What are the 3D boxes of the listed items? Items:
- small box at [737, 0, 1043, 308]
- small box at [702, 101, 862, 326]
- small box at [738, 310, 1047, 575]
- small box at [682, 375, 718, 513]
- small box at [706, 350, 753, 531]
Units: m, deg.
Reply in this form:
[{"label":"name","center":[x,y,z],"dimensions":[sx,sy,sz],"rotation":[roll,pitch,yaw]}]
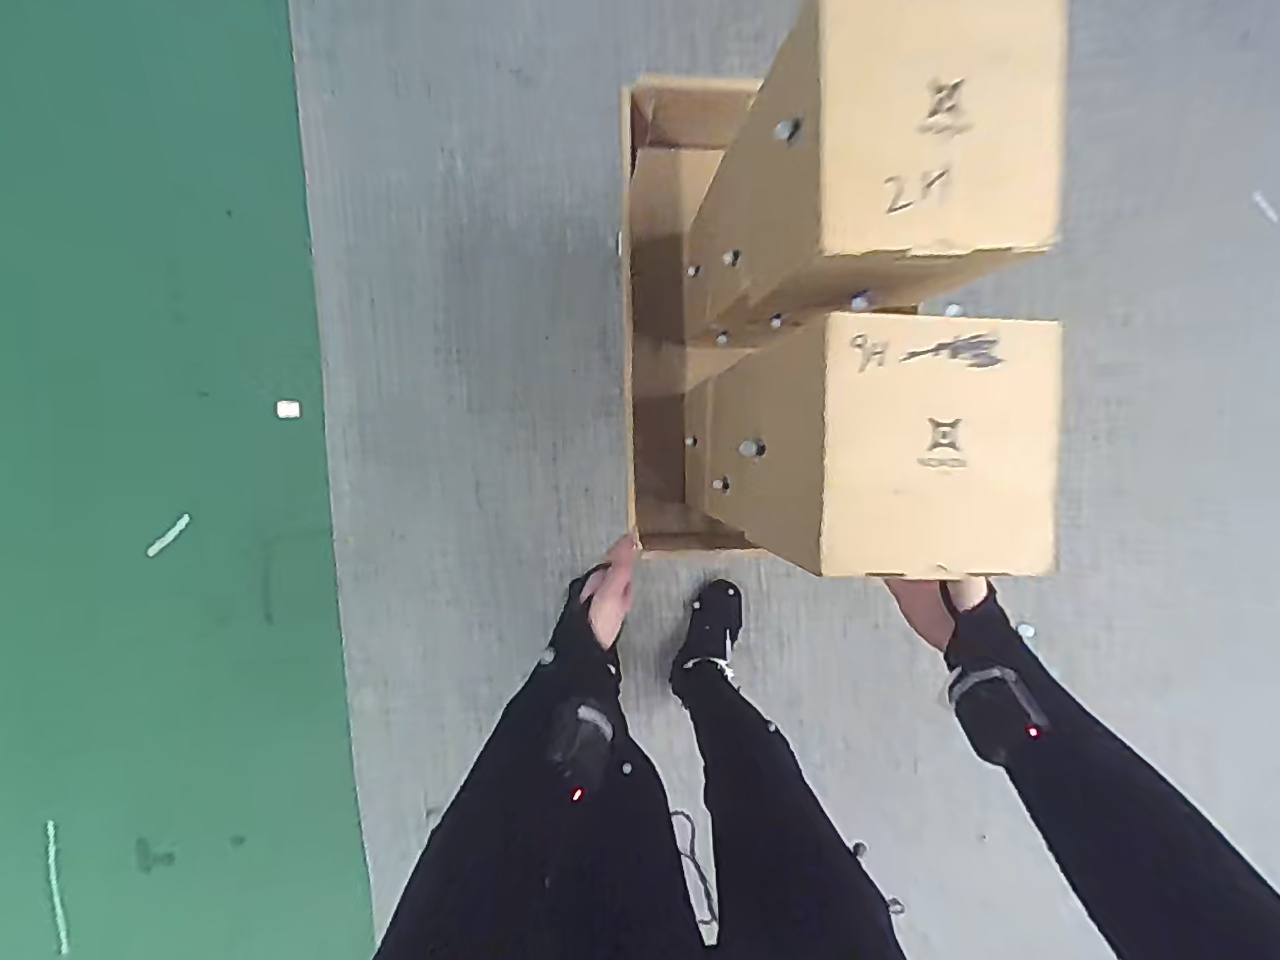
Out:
[{"label":"small box","center":[0.178,-0.248,0.434],"dimensions":[0.168,0.176,0.179],"rotation":[-3,95,-4]},{"label":"small box","center":[0.165,-0.275,0.597],"dimensions":[0.168,0.176,0.179],"rotation":[-2,96,-5]},{"label":"small box","center":[0.183,-0.028,0.441],"dimensions":[0.168,0.176,0.179],"rotation":[0,93,-6]},{"label":"small box","center":[0.154,-0.049,0.766],"dimensions":[0.168,0.176,0.179],"rotation":[-1,92,-5]},{"label":"small box","center":[0.172,-0.039,0.604],"dimensions":[0.168,0.176,0.179],"rotation":[1,92,-5]}]
